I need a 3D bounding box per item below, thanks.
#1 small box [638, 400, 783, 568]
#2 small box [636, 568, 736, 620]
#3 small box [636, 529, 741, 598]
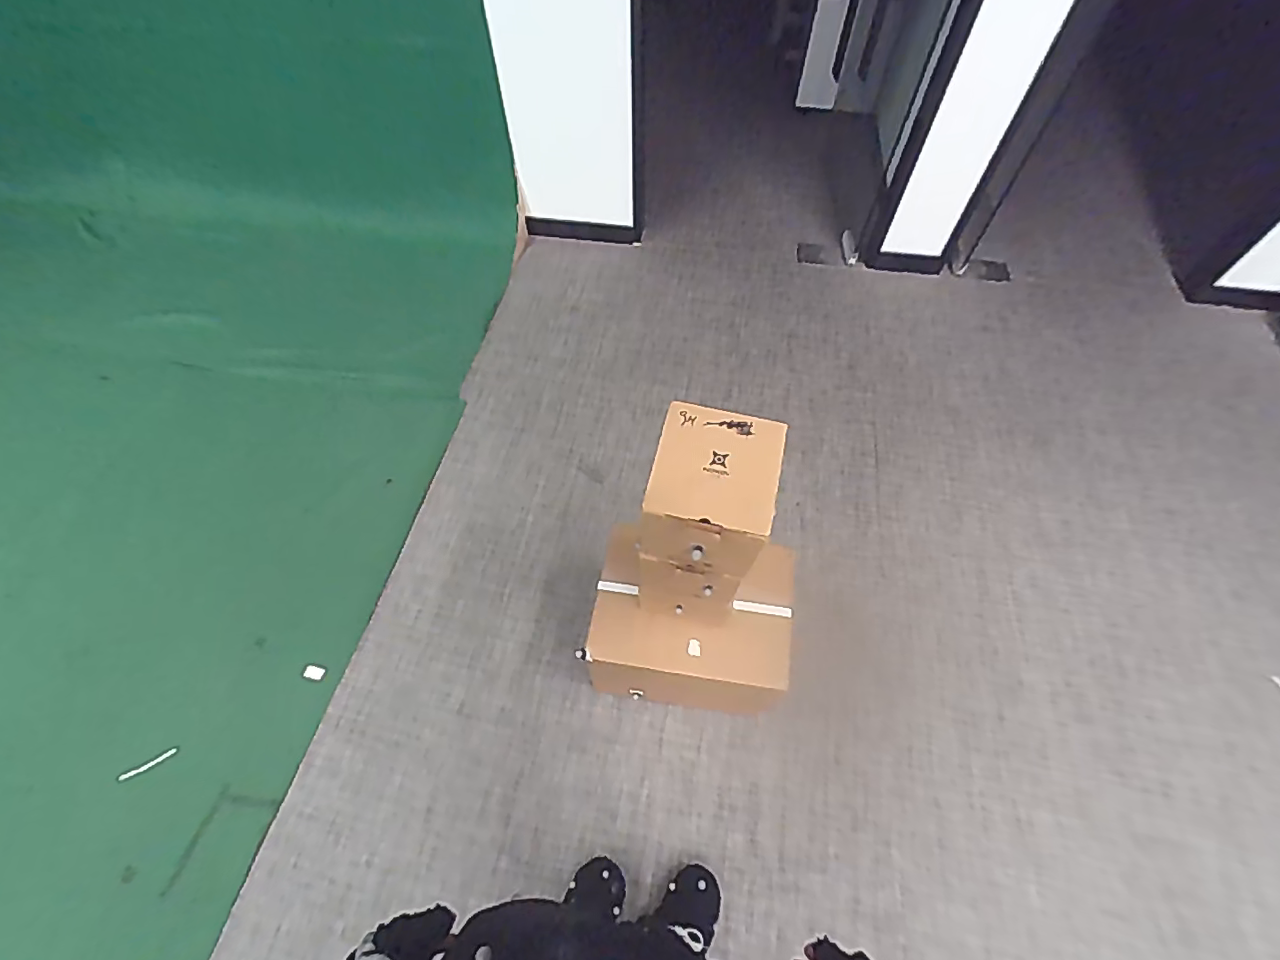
[{"bbox_3d":[0.099,0.014,0.791,0.168,0.176,0.179,13,65,6],"label":"small box"},{"bbox_3d":[0.099,0.166,1.076,0.179,0.176,0.168,14,63,8],"label":"small box"},{"bbox_3d":[0.092,0.090,0.936,0.168,0.176,0.179,11,63,5],"label":"small box"}]
